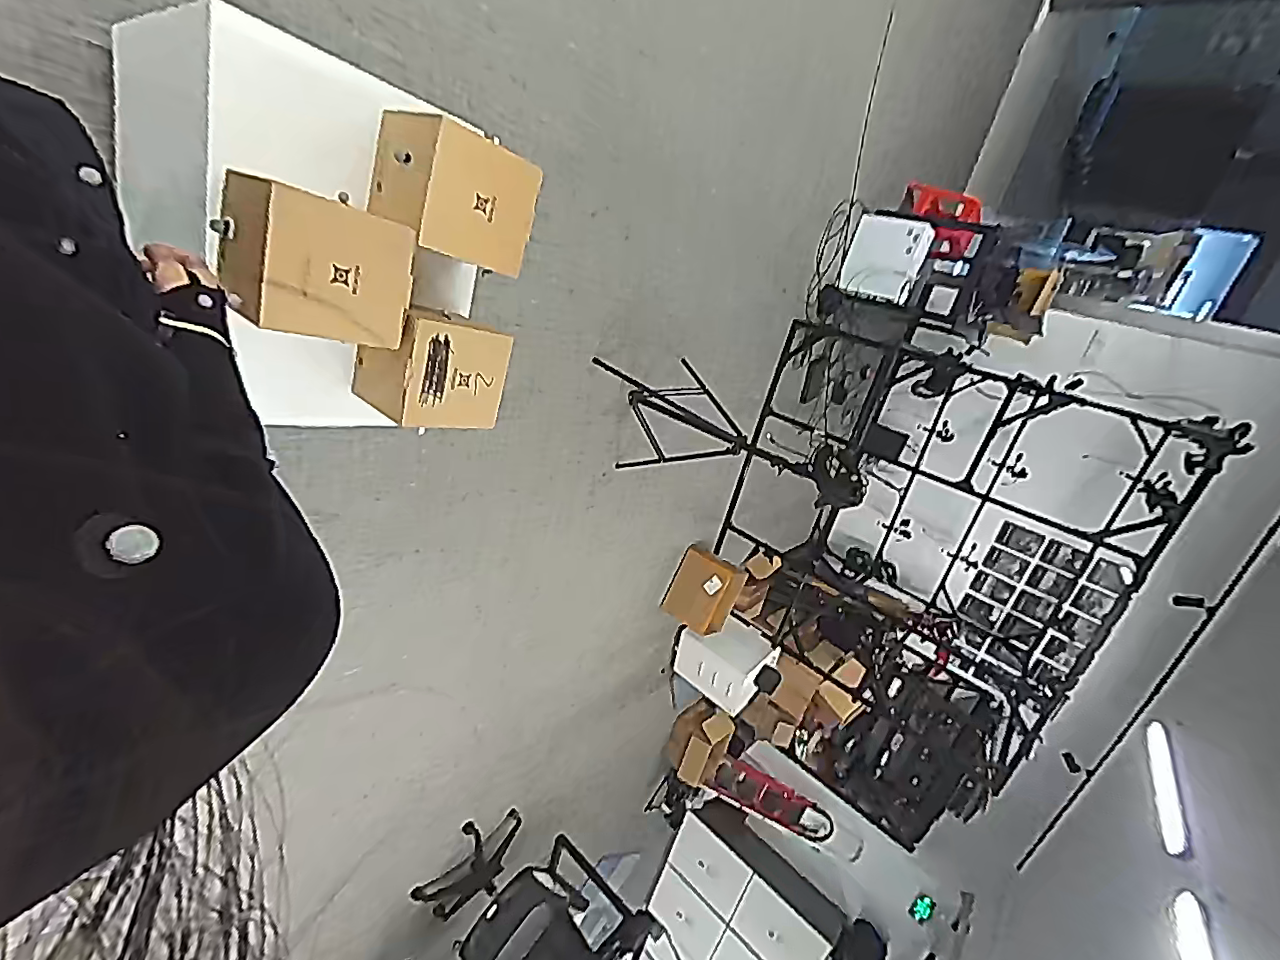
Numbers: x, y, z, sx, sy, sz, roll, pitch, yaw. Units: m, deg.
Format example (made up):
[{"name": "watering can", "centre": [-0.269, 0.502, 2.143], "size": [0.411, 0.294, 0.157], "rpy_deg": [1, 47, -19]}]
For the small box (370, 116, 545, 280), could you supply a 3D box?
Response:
[{"name": "small box", "centre": [-0.279, -0.421, 0.818], "size": [0.179, 0.176, 0.168], "rpy_deg": [-3, 116, -53]}]
